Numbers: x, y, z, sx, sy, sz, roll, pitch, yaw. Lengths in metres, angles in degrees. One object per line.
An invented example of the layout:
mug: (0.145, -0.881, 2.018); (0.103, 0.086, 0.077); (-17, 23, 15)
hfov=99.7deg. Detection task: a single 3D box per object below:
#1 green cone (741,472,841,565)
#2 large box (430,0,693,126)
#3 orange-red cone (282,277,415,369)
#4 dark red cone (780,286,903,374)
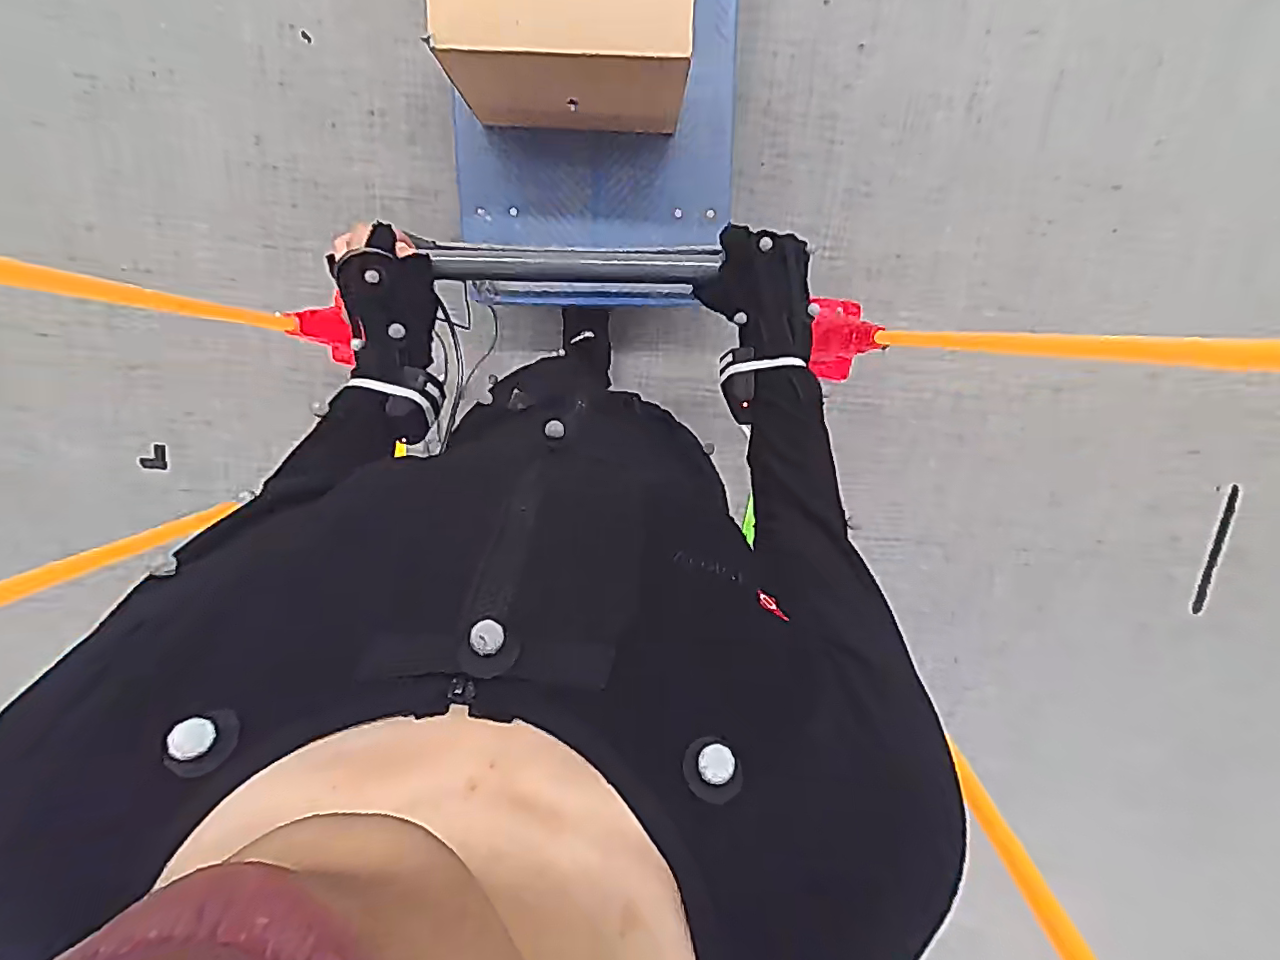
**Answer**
green cone: (0.399, 0.126, 1.331); (0.202, 0.368, 0.200); (8, 103, -4)
large box: (-0.118, -0.841, 0.937); (0.408, 0.320, 0.320); (1, 105, -1)
orange-red cone: (-0.669, -0.356, 1.195); (0.198, 0.360, 0.199); (12, 102, -5)
dark red cone: (0.465, -0.337, 1.201); (0.201, 0.394, 0.202); (5, 104, -4)
